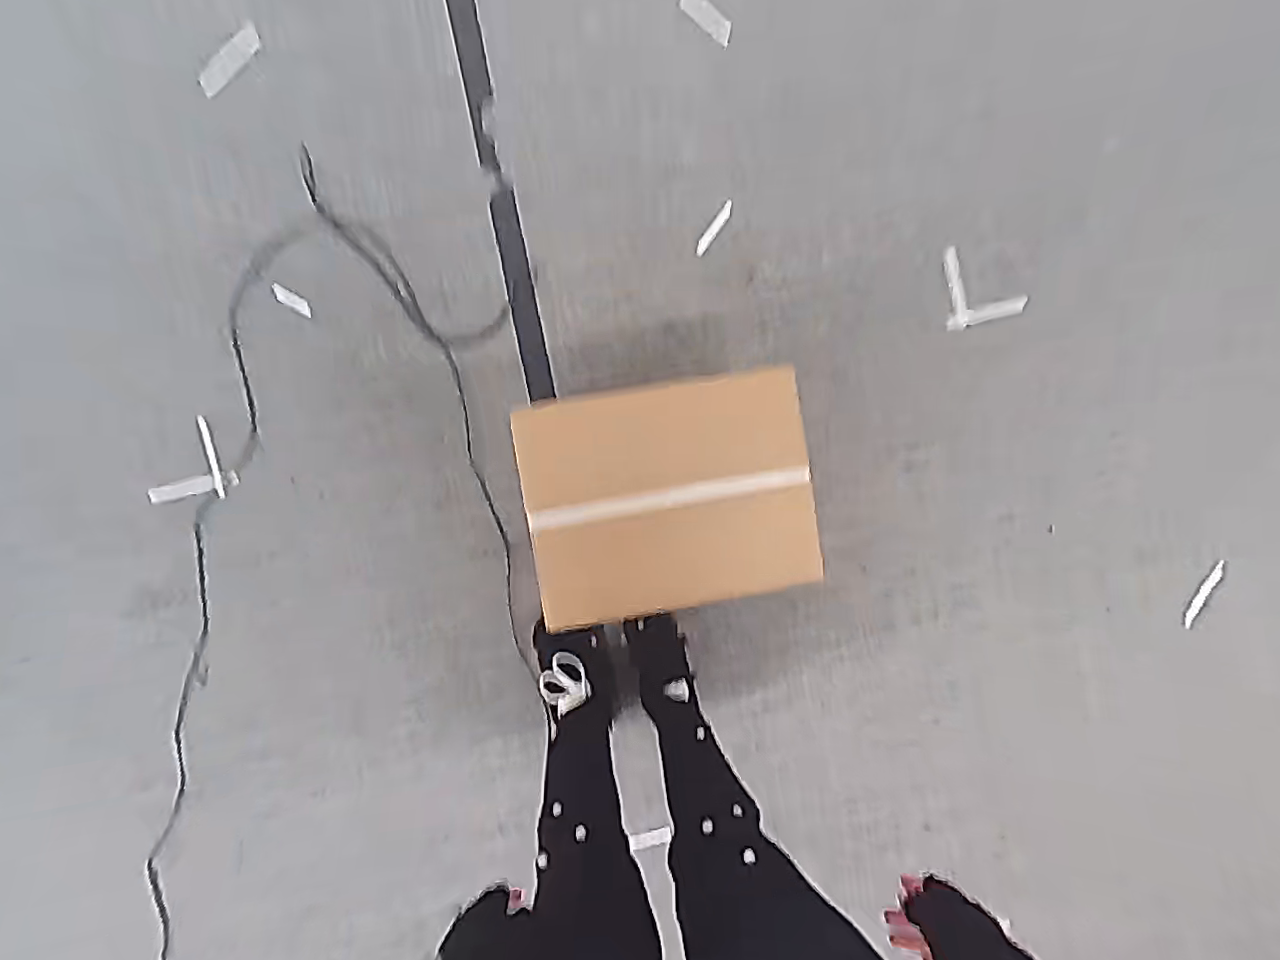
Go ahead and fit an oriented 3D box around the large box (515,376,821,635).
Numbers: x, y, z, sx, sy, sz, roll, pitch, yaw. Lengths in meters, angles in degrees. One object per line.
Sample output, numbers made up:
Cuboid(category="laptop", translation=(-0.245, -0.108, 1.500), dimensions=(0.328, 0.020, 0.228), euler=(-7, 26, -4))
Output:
Cuboid(category="large box", translation=(0.032, 0.031, 0.918), dimensions=(0.408, 0.320, 0.320), euler=(-10, 93, -5))
